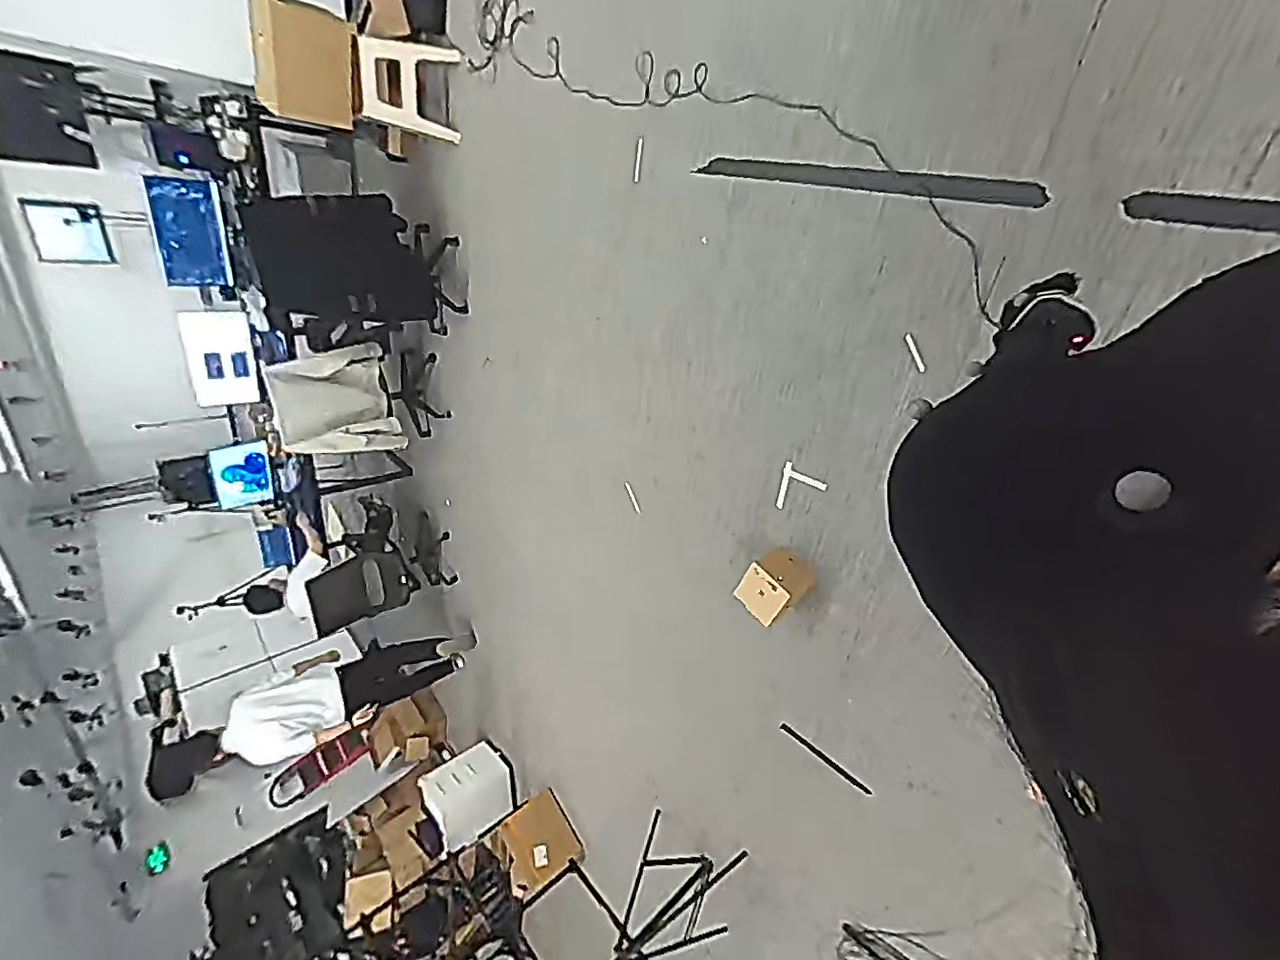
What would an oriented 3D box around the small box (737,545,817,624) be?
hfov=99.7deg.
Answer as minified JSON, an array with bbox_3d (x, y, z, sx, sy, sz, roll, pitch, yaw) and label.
[{"bbox_3d":[0.472,0.353,1.850,0.168,0.176,0.179,45,133,28],"label":"small box"}]
